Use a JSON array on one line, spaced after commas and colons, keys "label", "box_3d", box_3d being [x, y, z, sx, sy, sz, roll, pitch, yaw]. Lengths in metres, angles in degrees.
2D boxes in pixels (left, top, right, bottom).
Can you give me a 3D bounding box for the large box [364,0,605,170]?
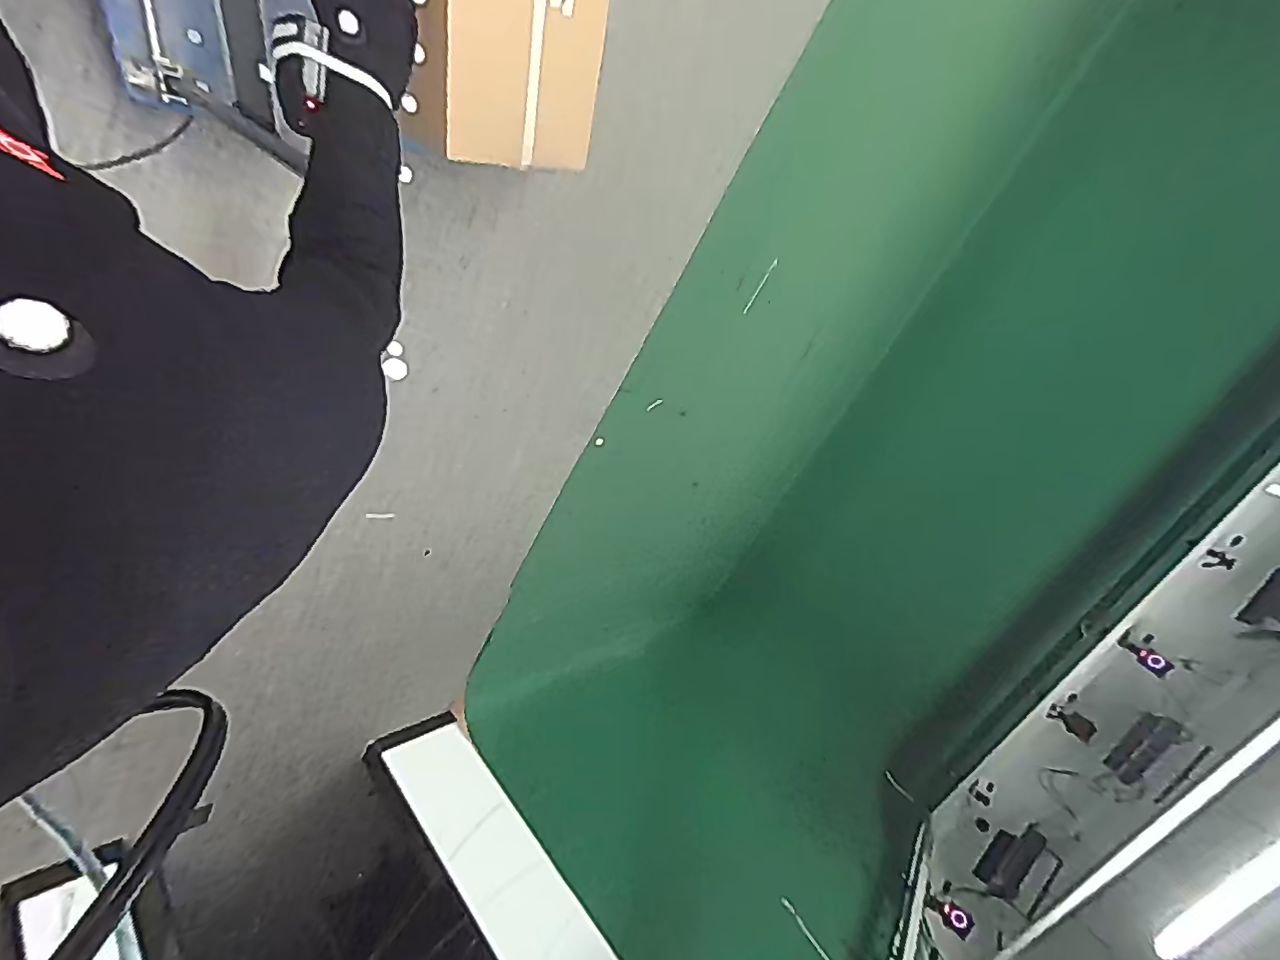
[{"label": "large box", "box_3d": [-0.286, -0.832, 0.981, 0.320, 0.320, 0.408, -24, 141, -41]}]
